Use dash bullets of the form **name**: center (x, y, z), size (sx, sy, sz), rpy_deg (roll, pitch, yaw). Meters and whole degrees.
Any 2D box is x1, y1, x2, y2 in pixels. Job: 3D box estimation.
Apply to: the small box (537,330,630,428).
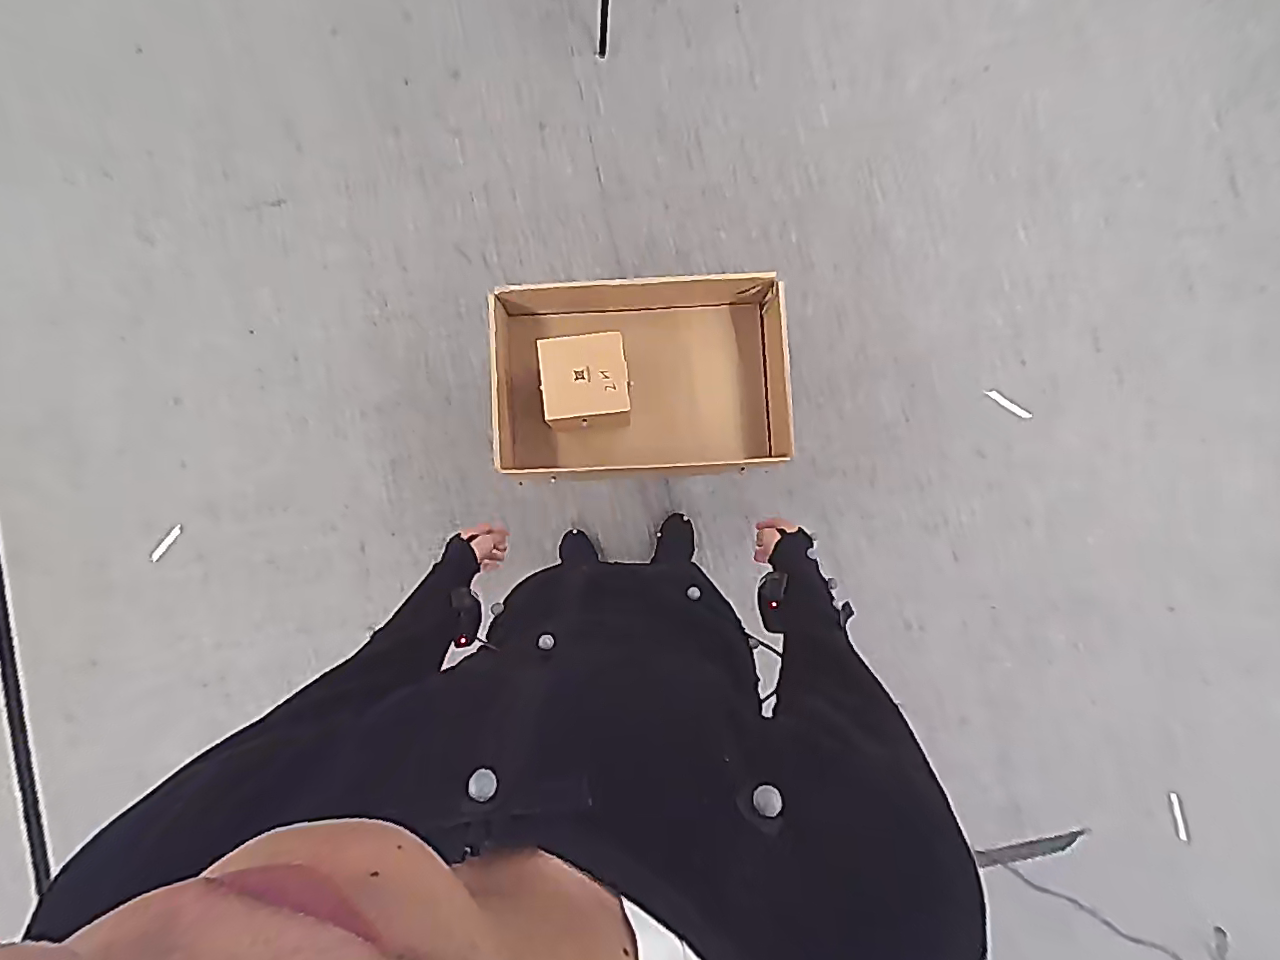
- **small box**: center (-0.115, -0.210, 1.162), size (0.179, 0.176, 0.168), rpy_deg (-6, 88, -2)
